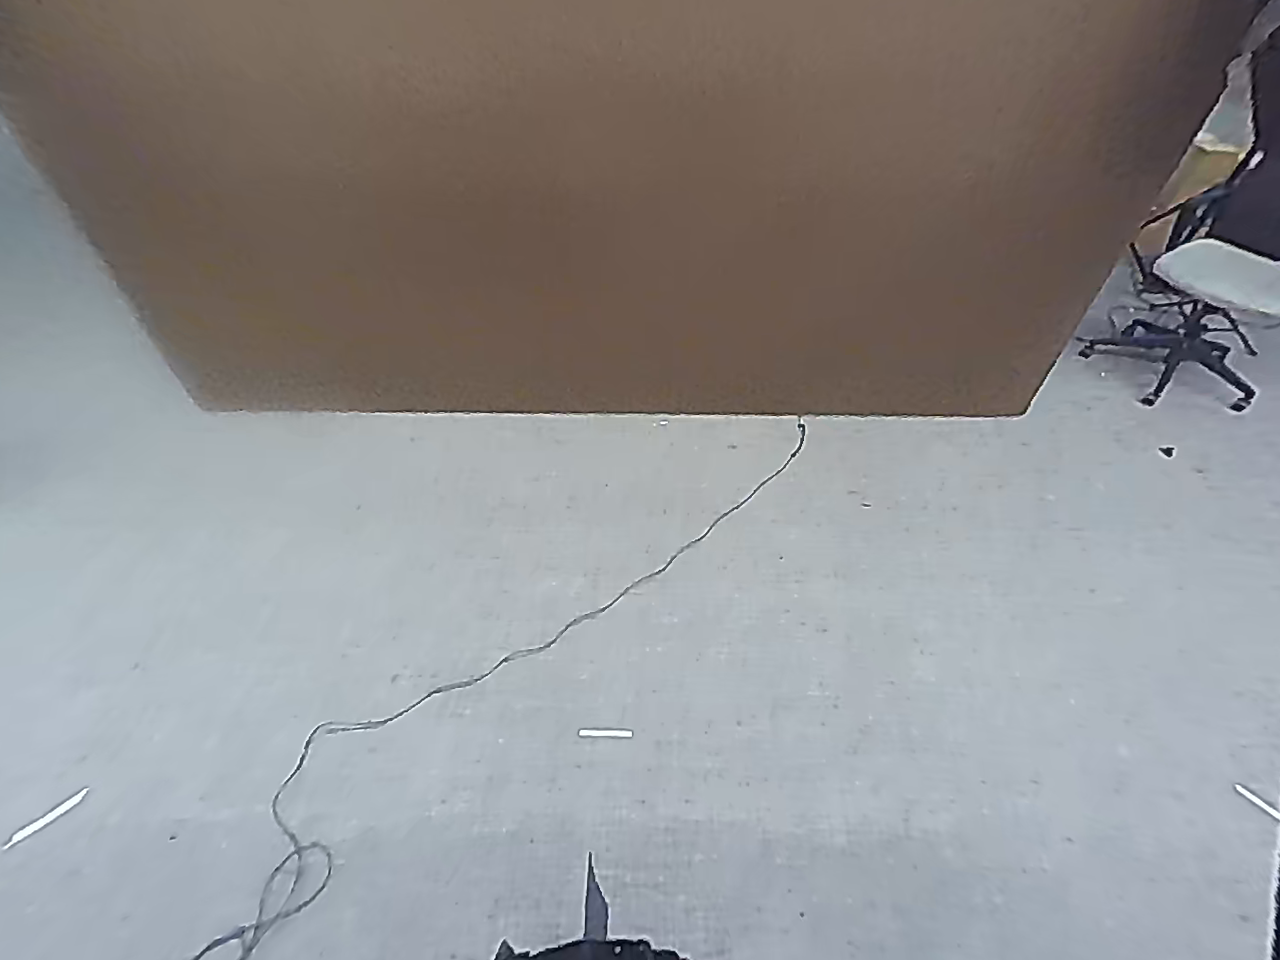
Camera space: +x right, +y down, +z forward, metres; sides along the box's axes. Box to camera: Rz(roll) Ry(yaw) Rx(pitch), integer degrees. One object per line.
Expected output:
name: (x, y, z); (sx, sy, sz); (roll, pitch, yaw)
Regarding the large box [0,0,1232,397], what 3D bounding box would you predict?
large box: (-0.010, -0.252, 0.276); (0.408, 0.320, 0.320); (1, 44, -1)
